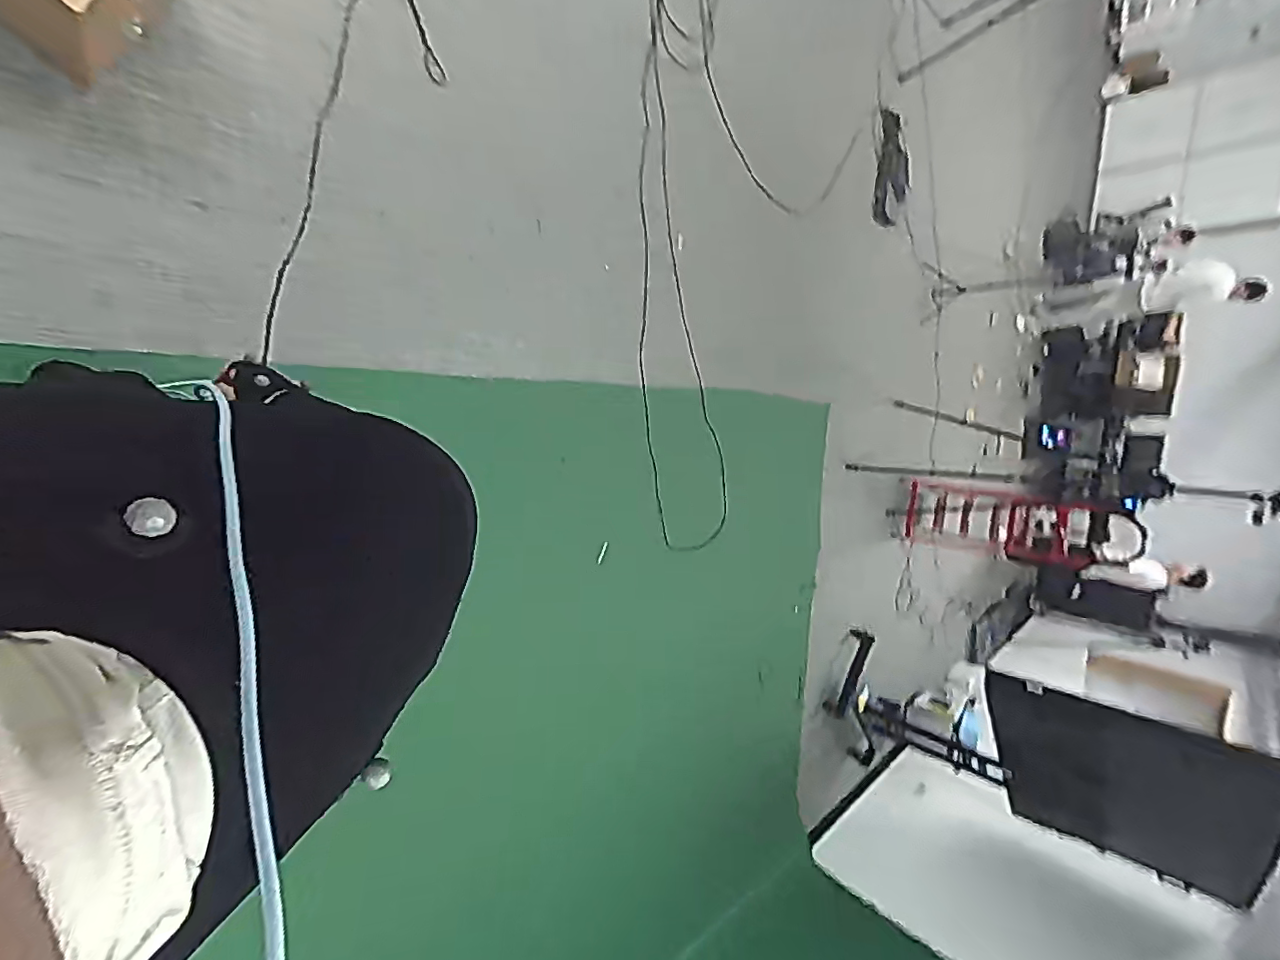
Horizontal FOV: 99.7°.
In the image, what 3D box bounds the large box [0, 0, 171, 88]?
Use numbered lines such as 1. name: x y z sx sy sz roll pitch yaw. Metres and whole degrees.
1. large box: -1.095 -1.007 0.918 0.408 0.320 0.320 35 73 -39
